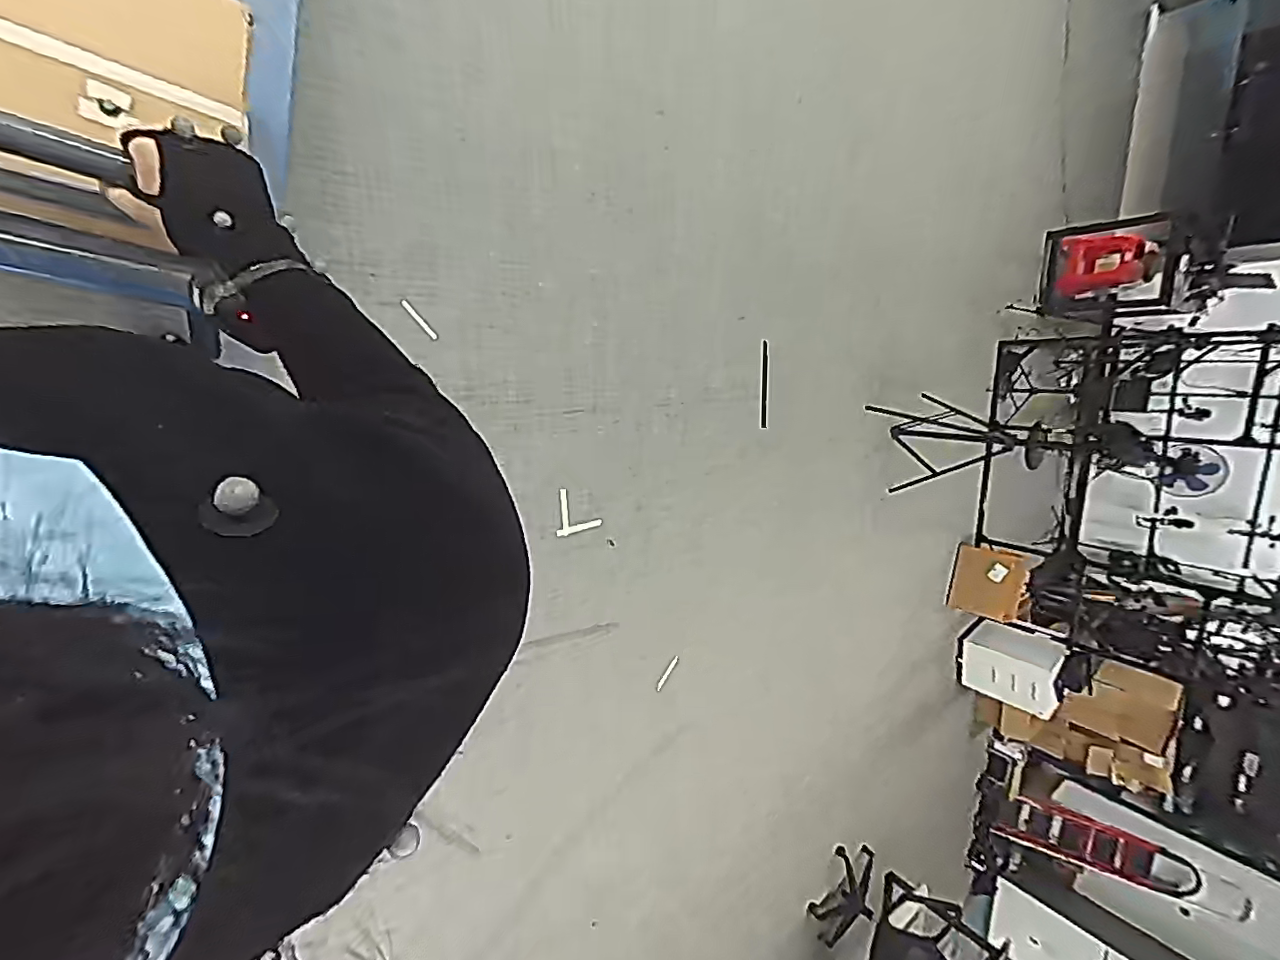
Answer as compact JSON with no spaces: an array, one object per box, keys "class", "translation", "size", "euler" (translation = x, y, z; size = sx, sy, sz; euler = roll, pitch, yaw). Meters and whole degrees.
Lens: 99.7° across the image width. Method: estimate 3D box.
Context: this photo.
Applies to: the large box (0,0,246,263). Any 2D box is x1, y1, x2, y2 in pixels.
[{"class":"large box","translation":[-0.817,-0.535,0.752],"size":[0.408,0.320,0.320],"euler":[4,97,-41]}]
